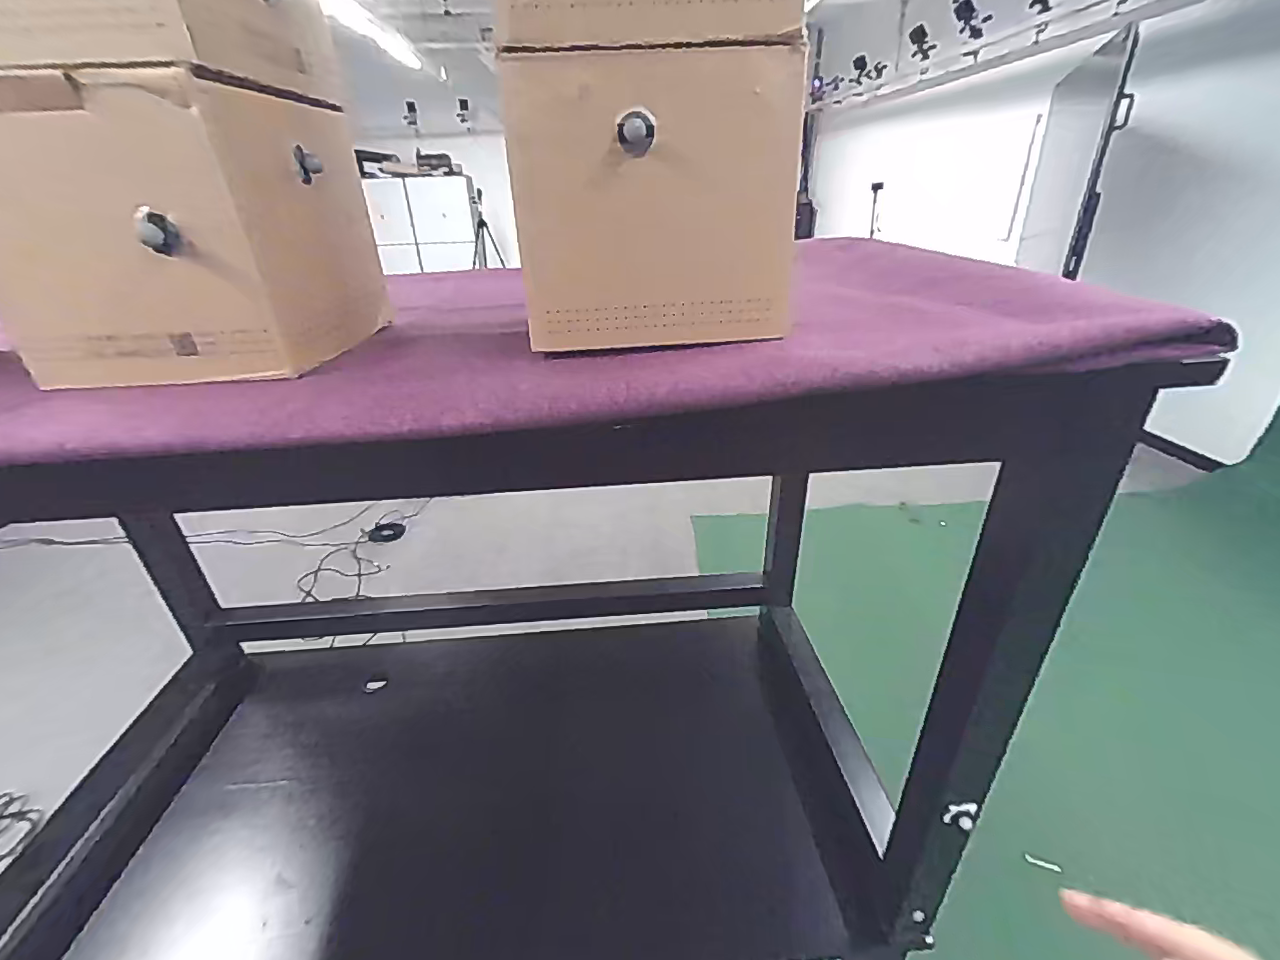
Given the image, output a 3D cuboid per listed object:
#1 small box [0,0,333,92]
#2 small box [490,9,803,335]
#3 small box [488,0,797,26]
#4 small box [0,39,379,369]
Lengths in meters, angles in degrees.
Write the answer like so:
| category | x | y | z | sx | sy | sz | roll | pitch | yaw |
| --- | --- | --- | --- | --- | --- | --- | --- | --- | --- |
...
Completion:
| category | x | y | z | sx | sy | sz | roll | pitch | yaw |
| --- | --- | --- | --- | --- | --- | --- | --- | --- | --- |
| small box | -0.312 | -0.324 | 0.299 | 0.179 | 0.176 | 0.168 | -2 | 29 | -1 |
| small box | 0.004 | -0.206 | 0.397 | 0.179 | 0.176 | 0.168 | -4 | 26 | -3 |
| small box | -0.005 | -0.354 | 0.330 | 0.179 | 0.176 | 0.168 | -4 | 26 | -3 |
| small box | -0.307 | -0.178 | 0.376 | 0.168 | 0.176 | 0.179 | -2 | 28 | -2 |
